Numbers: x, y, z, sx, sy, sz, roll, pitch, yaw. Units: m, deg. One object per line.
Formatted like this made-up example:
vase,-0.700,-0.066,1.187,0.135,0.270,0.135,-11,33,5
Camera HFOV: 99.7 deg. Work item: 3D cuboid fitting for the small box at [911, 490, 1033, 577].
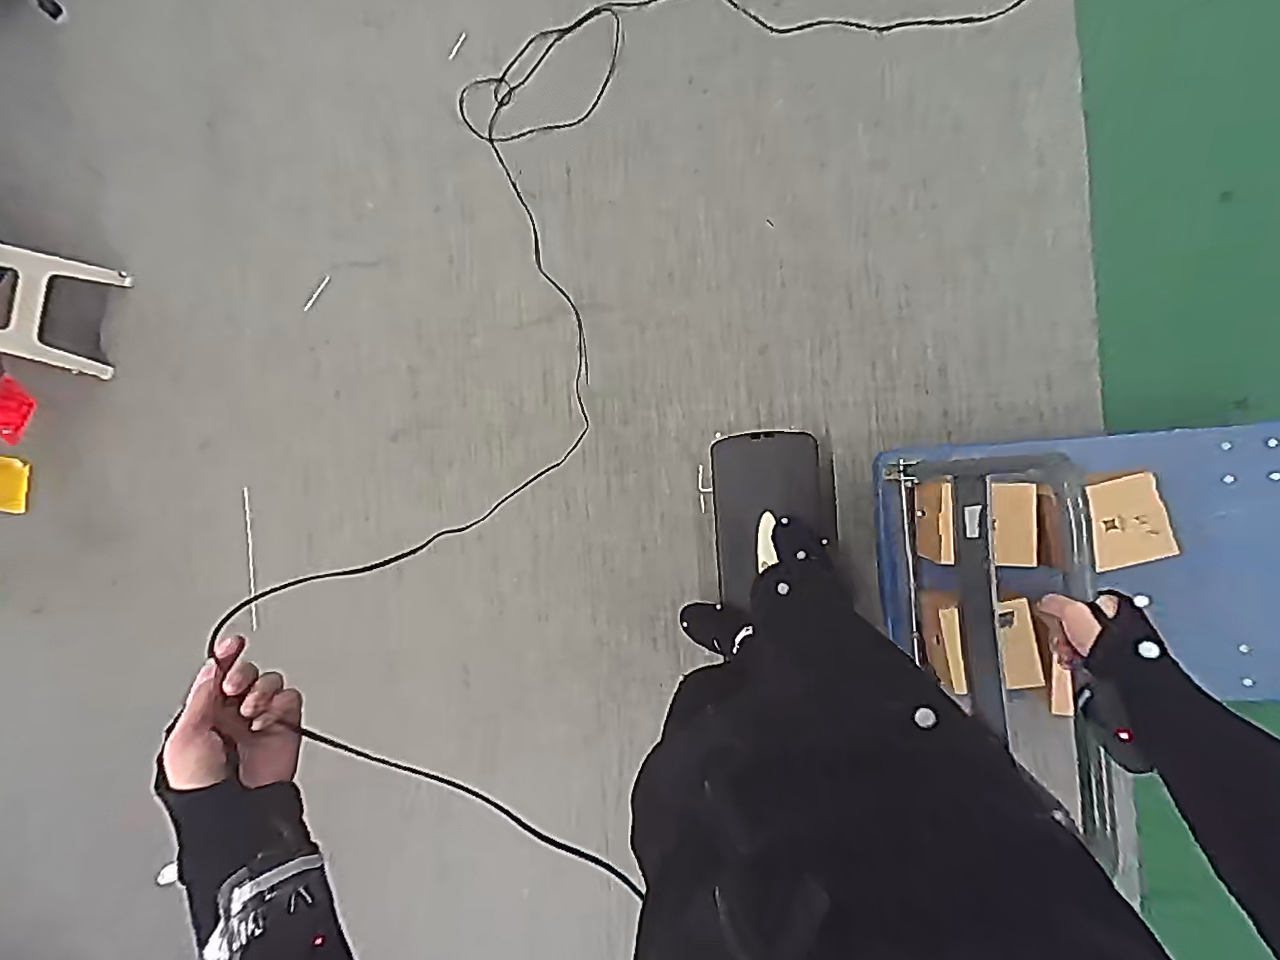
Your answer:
small box,0.697,0.107,1.150,0.179,0.176,0.168,1,90,12

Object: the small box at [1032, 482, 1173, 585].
small box,0.908,0.106,1.104,0.179,0.176,0.168,-15,87,11
